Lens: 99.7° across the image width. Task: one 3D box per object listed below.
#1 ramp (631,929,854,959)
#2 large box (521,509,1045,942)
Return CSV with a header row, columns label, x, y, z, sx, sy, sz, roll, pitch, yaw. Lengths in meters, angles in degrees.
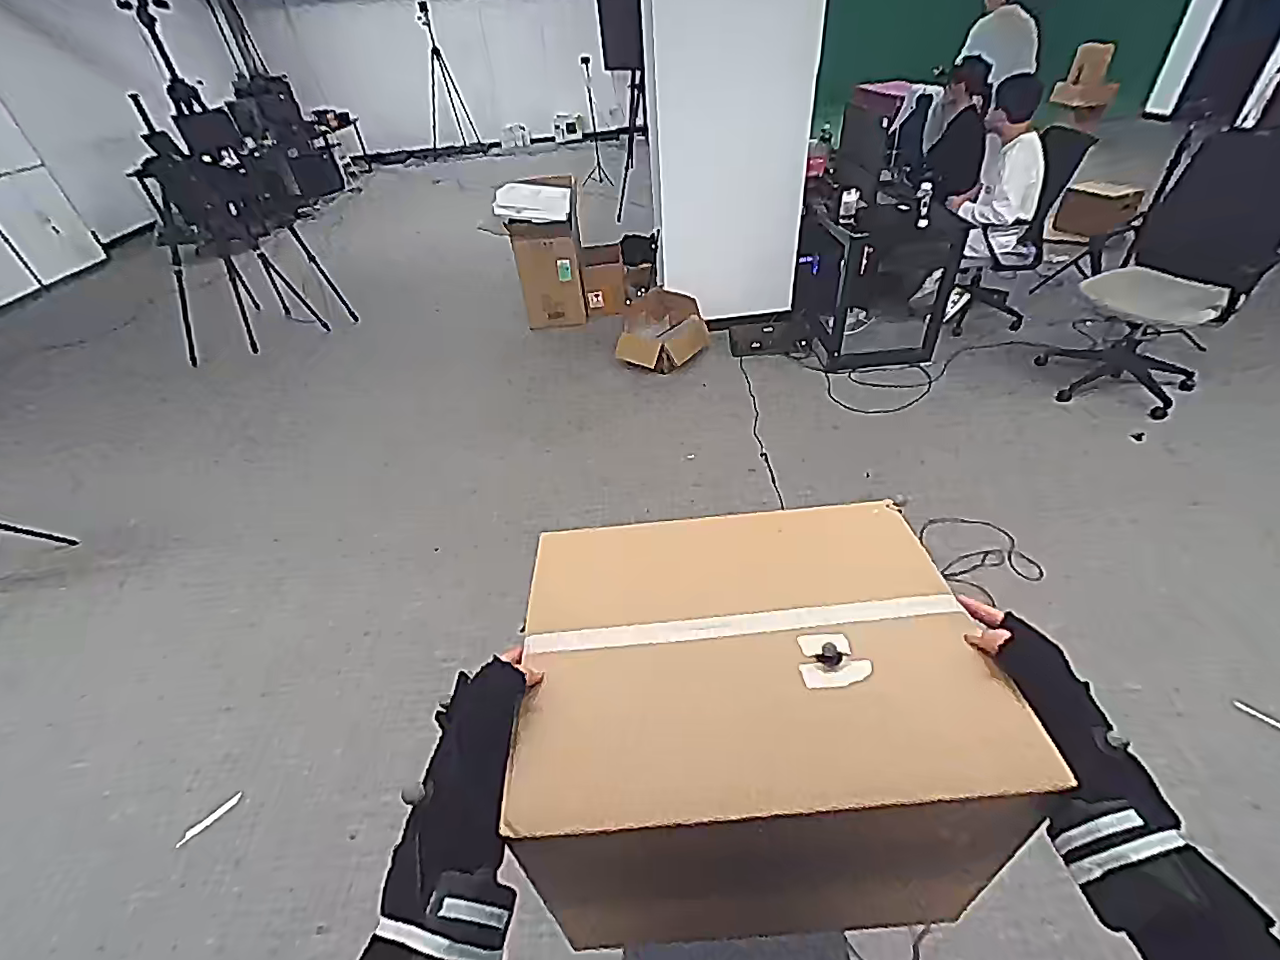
label,x,y,z,sx,sy,sz,roll,pitch,yaw
ramp,0.235,1.280,0.785,0.509,0.206,0.991,-8,40,1
large box,0.109,0.264,0.606,0.408,0.320,0.320,-6,37,1
